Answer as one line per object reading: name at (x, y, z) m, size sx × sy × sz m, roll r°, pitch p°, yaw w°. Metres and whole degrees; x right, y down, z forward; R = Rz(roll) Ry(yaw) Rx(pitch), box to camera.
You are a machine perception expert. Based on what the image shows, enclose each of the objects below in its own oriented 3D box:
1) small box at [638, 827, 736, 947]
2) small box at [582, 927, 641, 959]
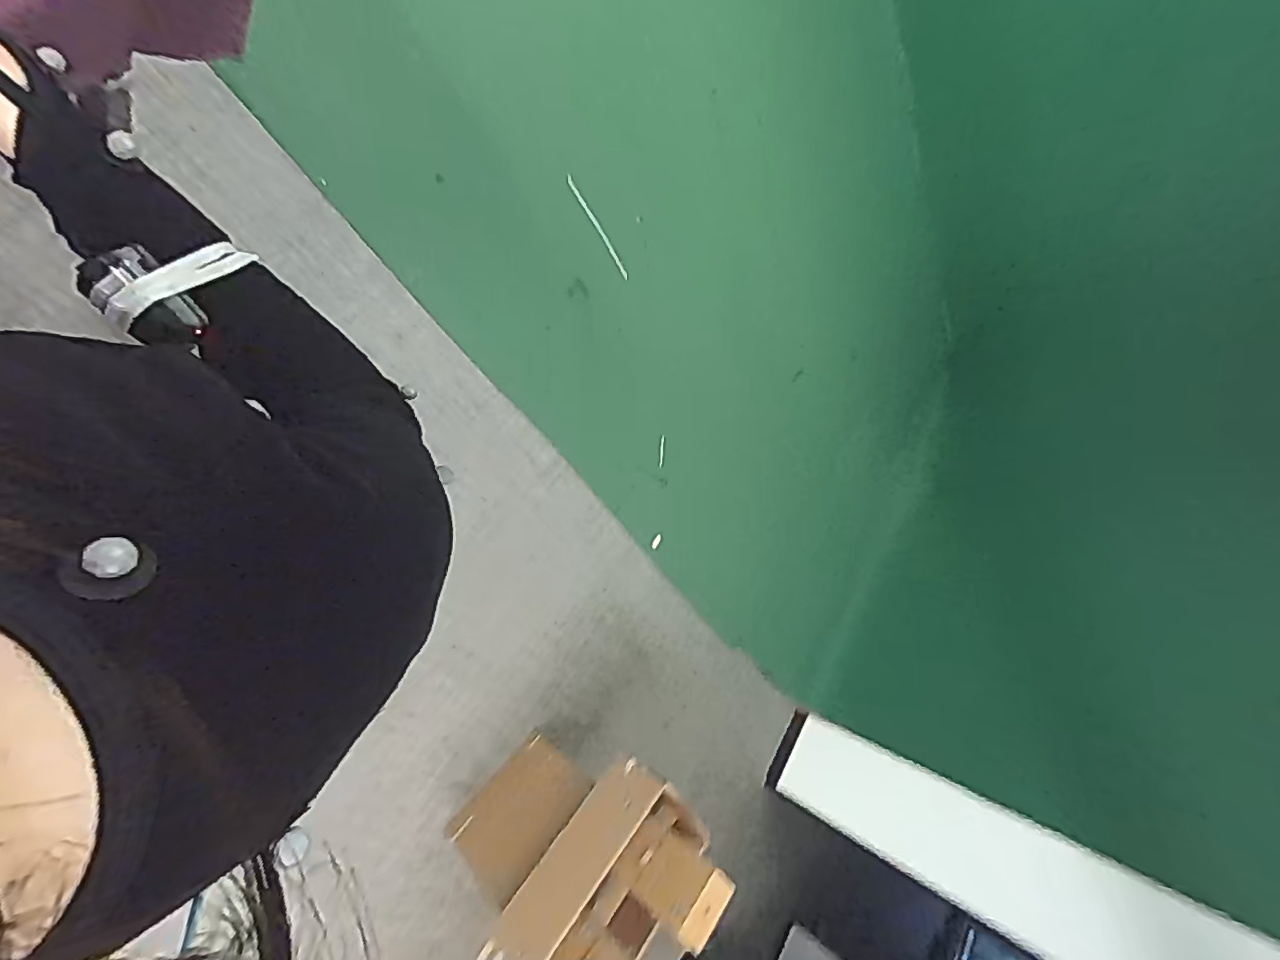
small box at (0.126, 1.090, 1.461) m, size 0.179 × 0.176 × 0.168 m, roll -45°, pitch 126°, yaw -25°
small box at (-0.055, 1.260, 1.327) m, size 0.168 × 0.176 × 0.179 m, roll -39°, pitch 122°, yaw -30°
